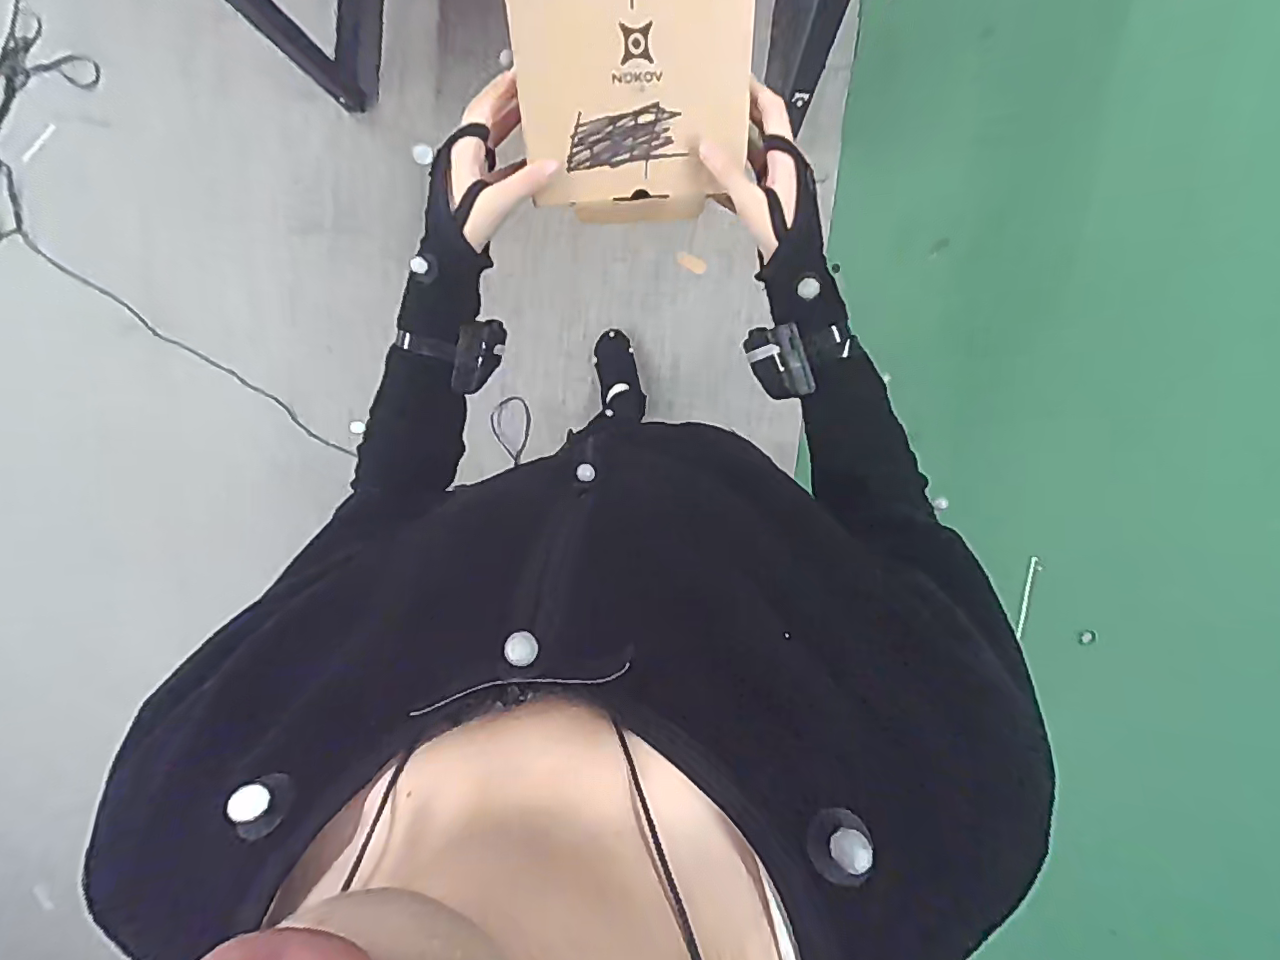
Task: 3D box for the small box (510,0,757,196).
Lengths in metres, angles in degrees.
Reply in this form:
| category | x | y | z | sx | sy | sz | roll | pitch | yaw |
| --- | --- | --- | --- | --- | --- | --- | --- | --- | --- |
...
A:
| category | x | y | z | sx | sy | sz | roll | pitch | yaw |
| --- | --- | --- | --- | --- | --- | --- | --- | --- | --- |
| small box | -0.010 | -0.340 | 0.436 | 0.168 | 0.176 | 0.179 | -5 | 124 | -4 |
